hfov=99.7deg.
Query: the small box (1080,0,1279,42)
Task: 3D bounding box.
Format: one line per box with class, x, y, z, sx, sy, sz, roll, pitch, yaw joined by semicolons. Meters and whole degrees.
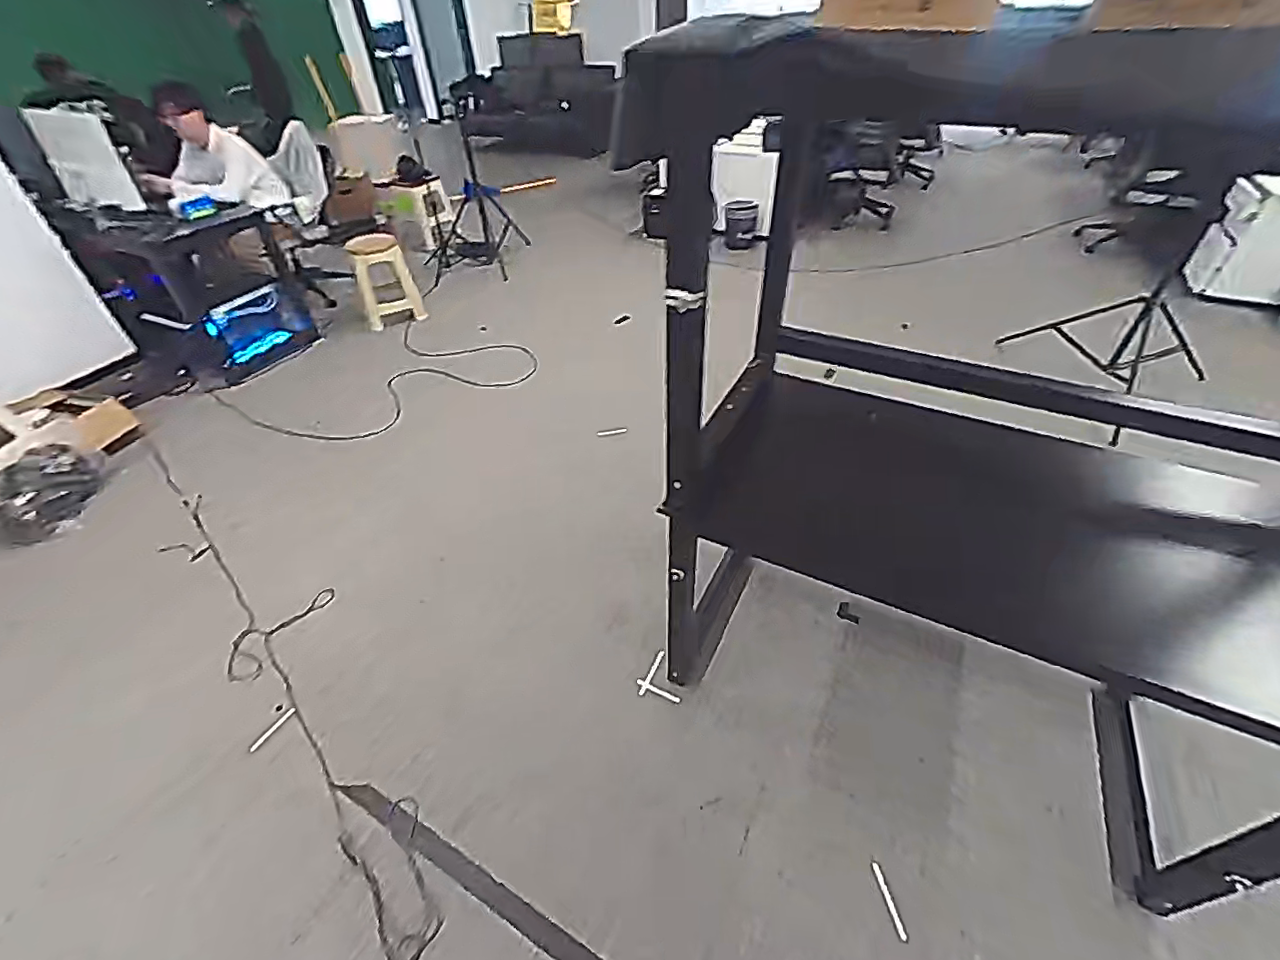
small box;0.513;-0.487;0.462;0.168;0.176;0.179;20;44;23
